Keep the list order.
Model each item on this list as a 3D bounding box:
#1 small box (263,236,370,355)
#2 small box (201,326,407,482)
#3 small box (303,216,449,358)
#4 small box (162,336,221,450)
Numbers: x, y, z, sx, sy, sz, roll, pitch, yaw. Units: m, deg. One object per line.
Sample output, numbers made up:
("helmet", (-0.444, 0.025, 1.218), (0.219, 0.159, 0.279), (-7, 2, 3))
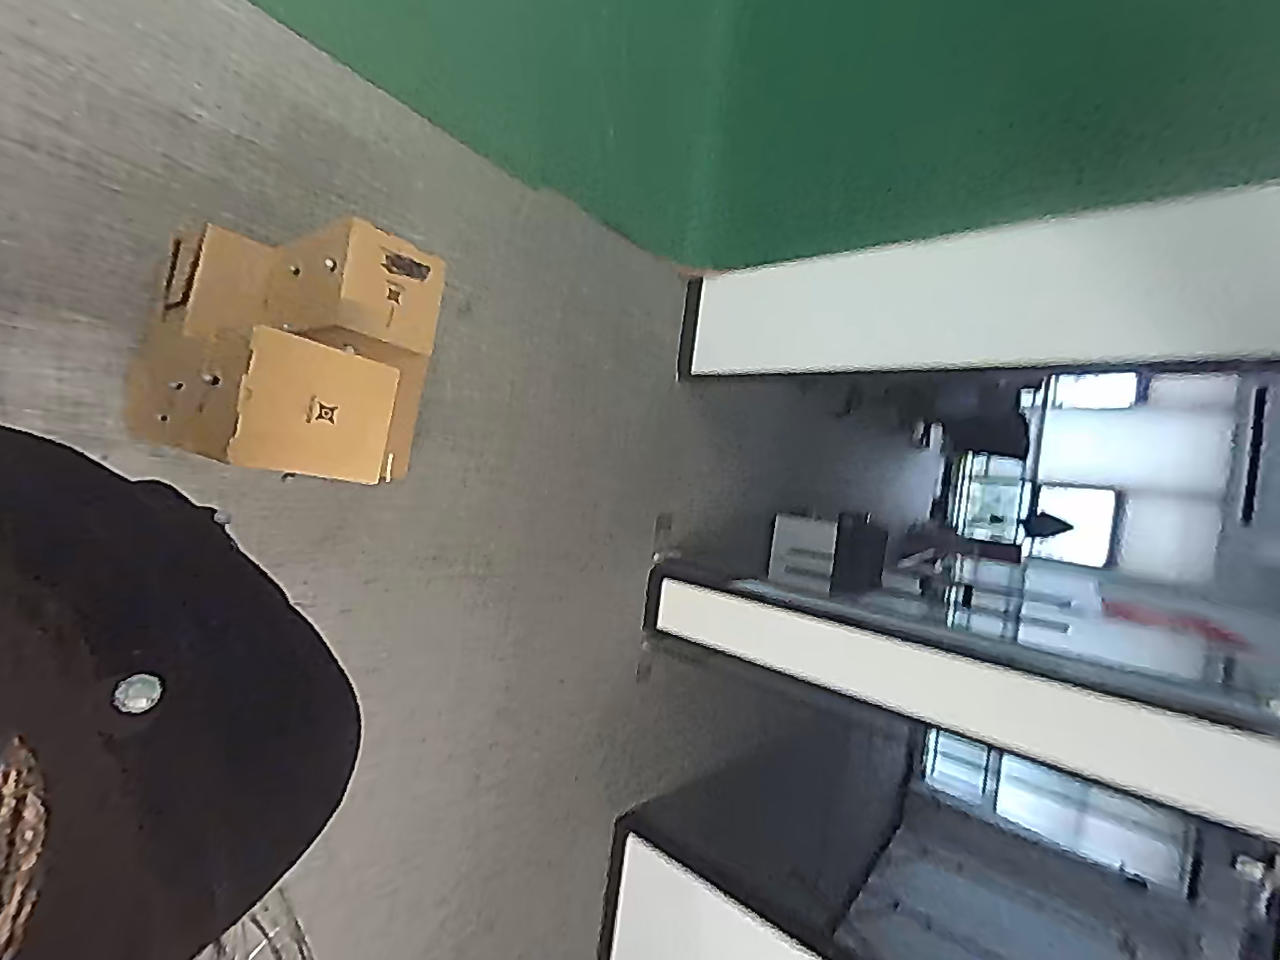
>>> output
("small box", (-0.591, -0.346, 1.052), (0.179, 0.176, 0.168), (12, 86, -53))
("small box", (-0.454, -0.099, 0.734), (0.179, 0.176, 0.168), (12, 87, -51))
("small box", (-0.463, -0.325, 0.947), (0.168, 0.176, 0.179), (10, 87, -52))
("small box", (-0.703, -0.138, 0.944), (0.168, 0.176, 0.179), (9, 89, -53))
